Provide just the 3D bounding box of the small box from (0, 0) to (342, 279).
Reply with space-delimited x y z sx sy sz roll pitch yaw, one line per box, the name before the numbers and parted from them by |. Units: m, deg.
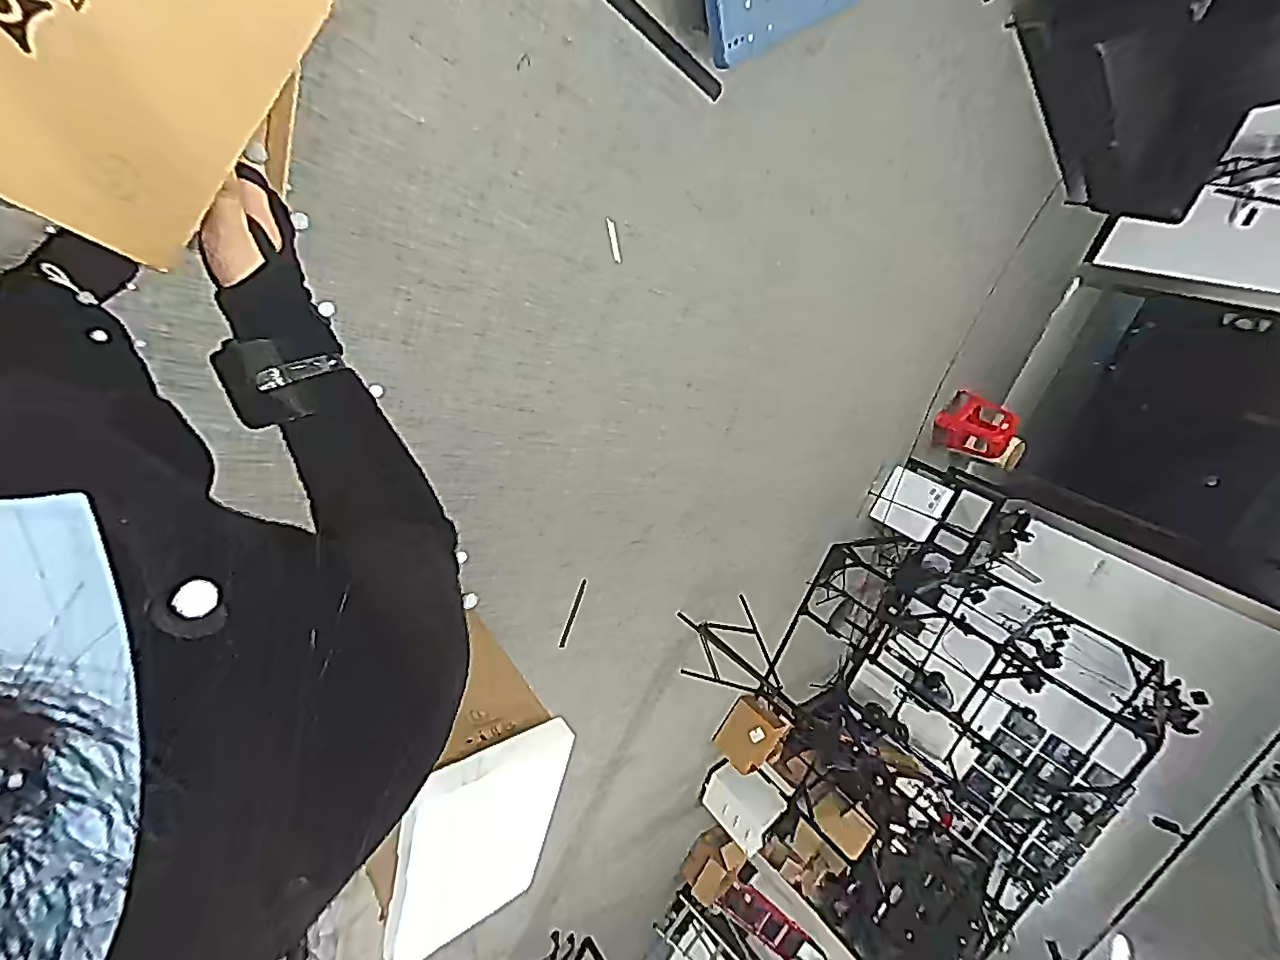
small box | -0.277 -0.242 0.255 0.179 0.176 0.168 -45 144 13
